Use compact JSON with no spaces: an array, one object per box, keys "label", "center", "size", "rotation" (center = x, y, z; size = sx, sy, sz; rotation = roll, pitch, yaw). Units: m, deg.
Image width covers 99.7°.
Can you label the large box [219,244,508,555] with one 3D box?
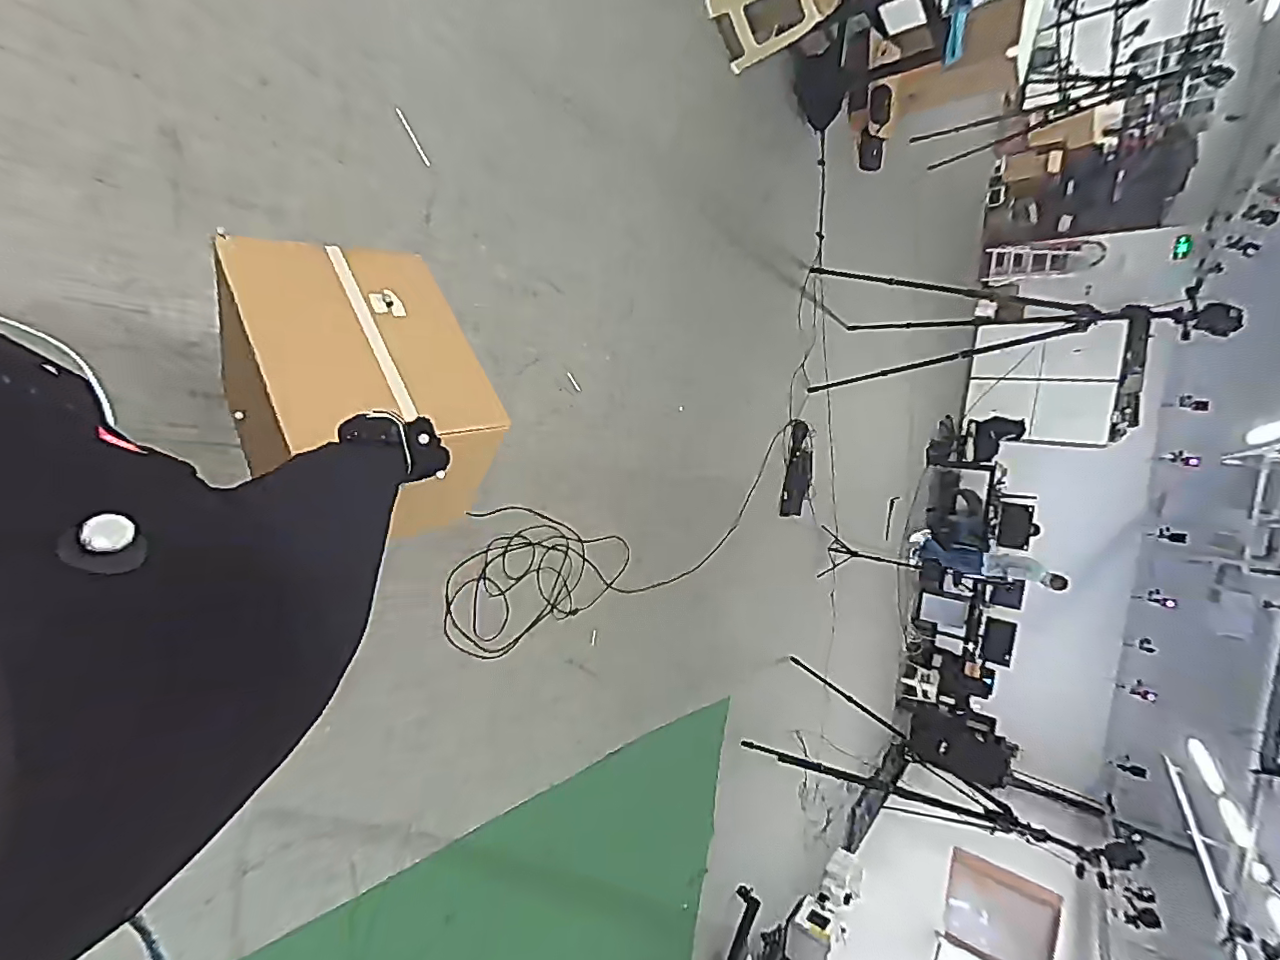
[{"label":"large box","center":[-0.491,-0.141,0.949],"size":[0.320,0.320,0.408],"rotation":[-14,64,-42]}]
